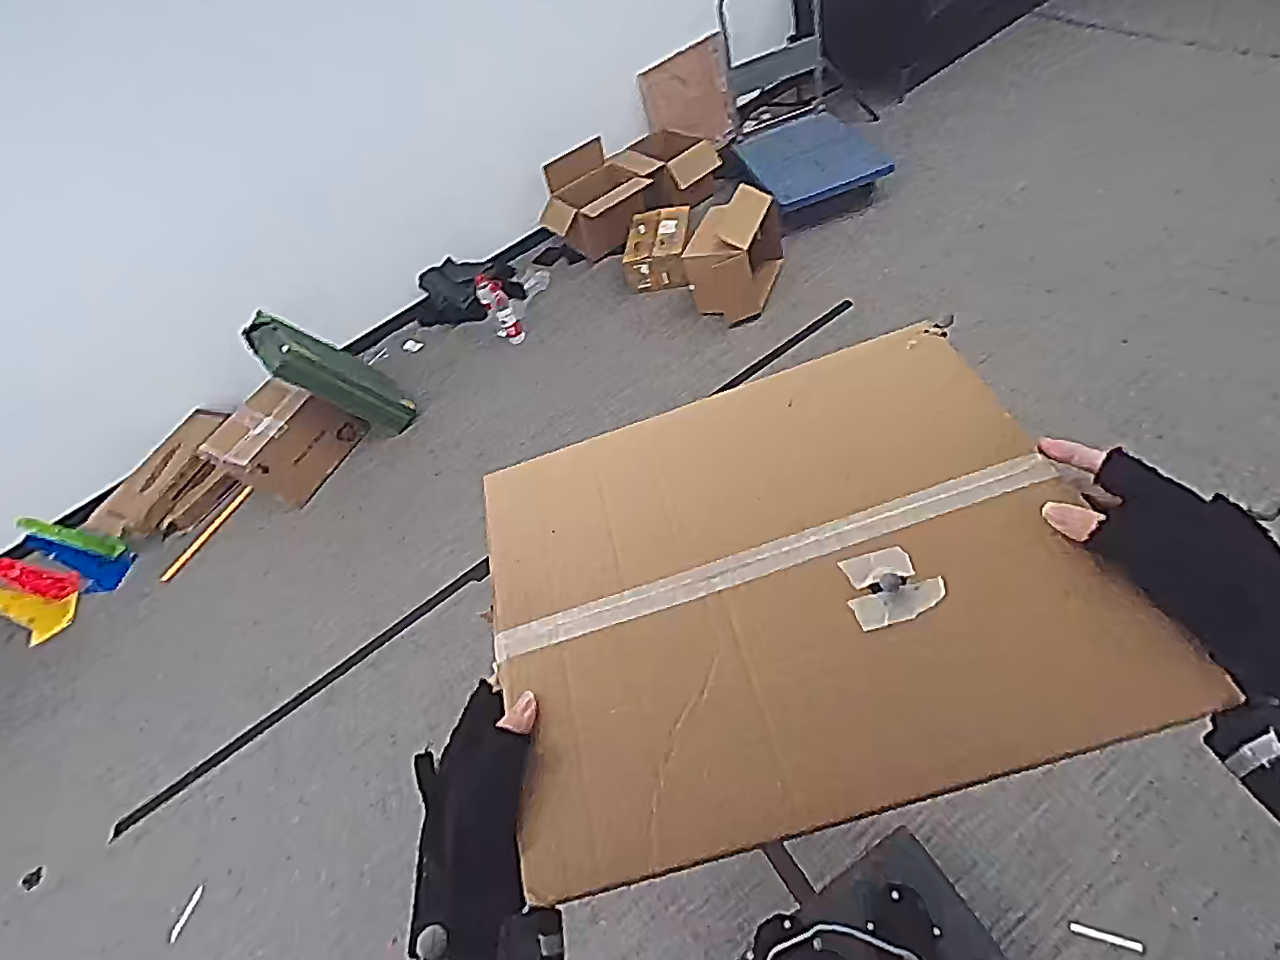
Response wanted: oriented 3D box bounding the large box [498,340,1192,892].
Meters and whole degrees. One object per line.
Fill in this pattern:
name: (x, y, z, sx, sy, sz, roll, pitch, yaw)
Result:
large box: (0.125, 0.139, 0.521, 0.408, 0.320, 0.320, -19, 57, 4)
